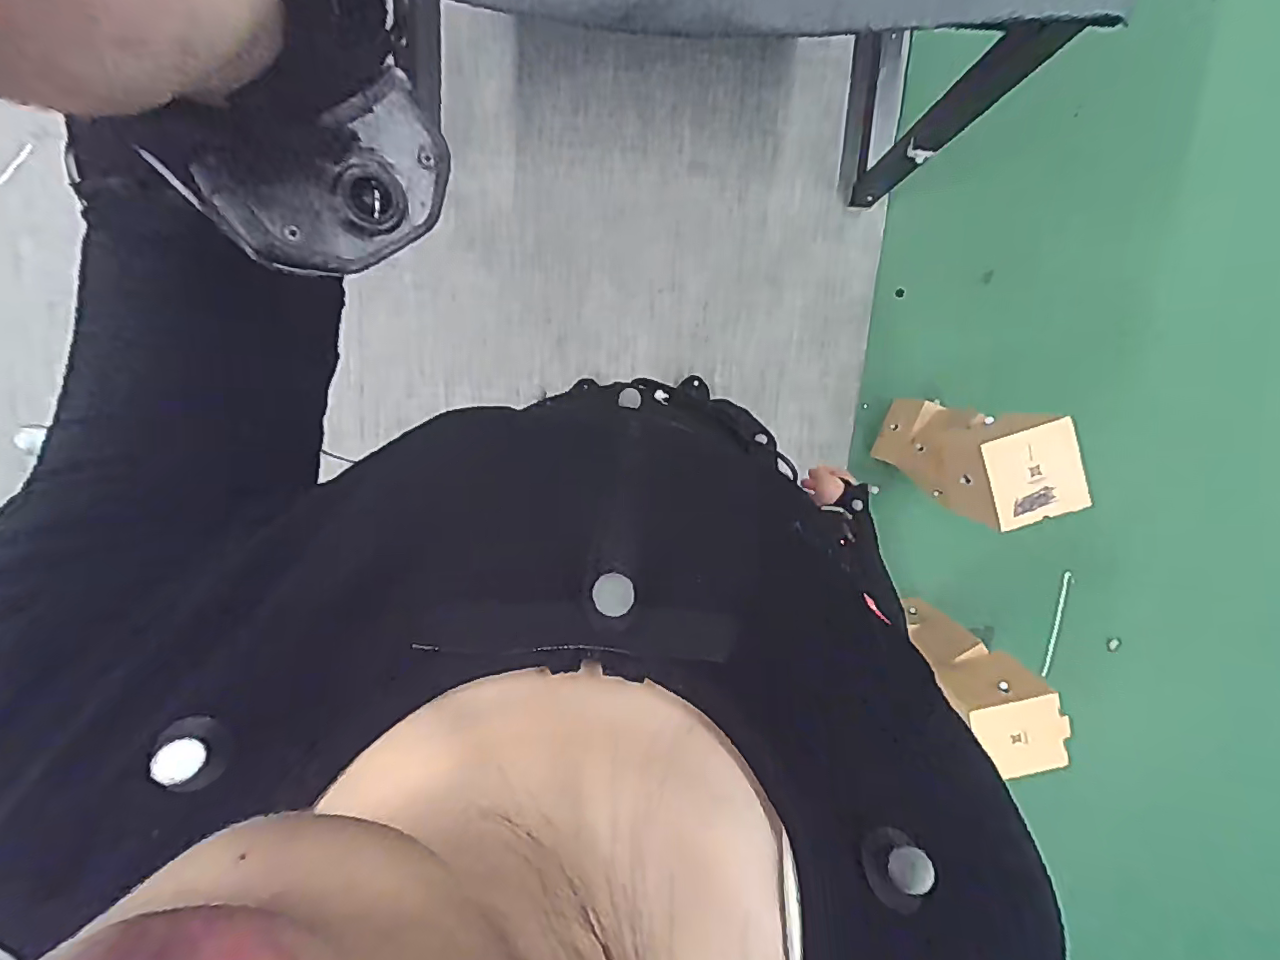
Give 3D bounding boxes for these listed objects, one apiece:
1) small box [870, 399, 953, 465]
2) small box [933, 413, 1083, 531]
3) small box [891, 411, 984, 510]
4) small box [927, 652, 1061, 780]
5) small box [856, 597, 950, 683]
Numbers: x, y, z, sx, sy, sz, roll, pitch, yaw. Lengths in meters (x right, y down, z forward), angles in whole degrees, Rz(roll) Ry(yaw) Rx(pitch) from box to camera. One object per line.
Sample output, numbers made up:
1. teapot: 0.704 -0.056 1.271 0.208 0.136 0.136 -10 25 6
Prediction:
1. small box: 0.721 -0.101 1.375 0.179 0.176 0.168 21 100 -3
2. small box: 0.709 -0.022 1.058 0.168 0.176 0.179 -18 99 5
3. small box: 0.710 -0.042 1.221 0.179 0.176 0.168 41 99 -7
4. small box: 0.736 0.492 1.147 0.179 0.176 0.168 -15 100 3
5. small box: 0.707 0.427 1.468 0.179 0.176 0.168 -5 100 1
